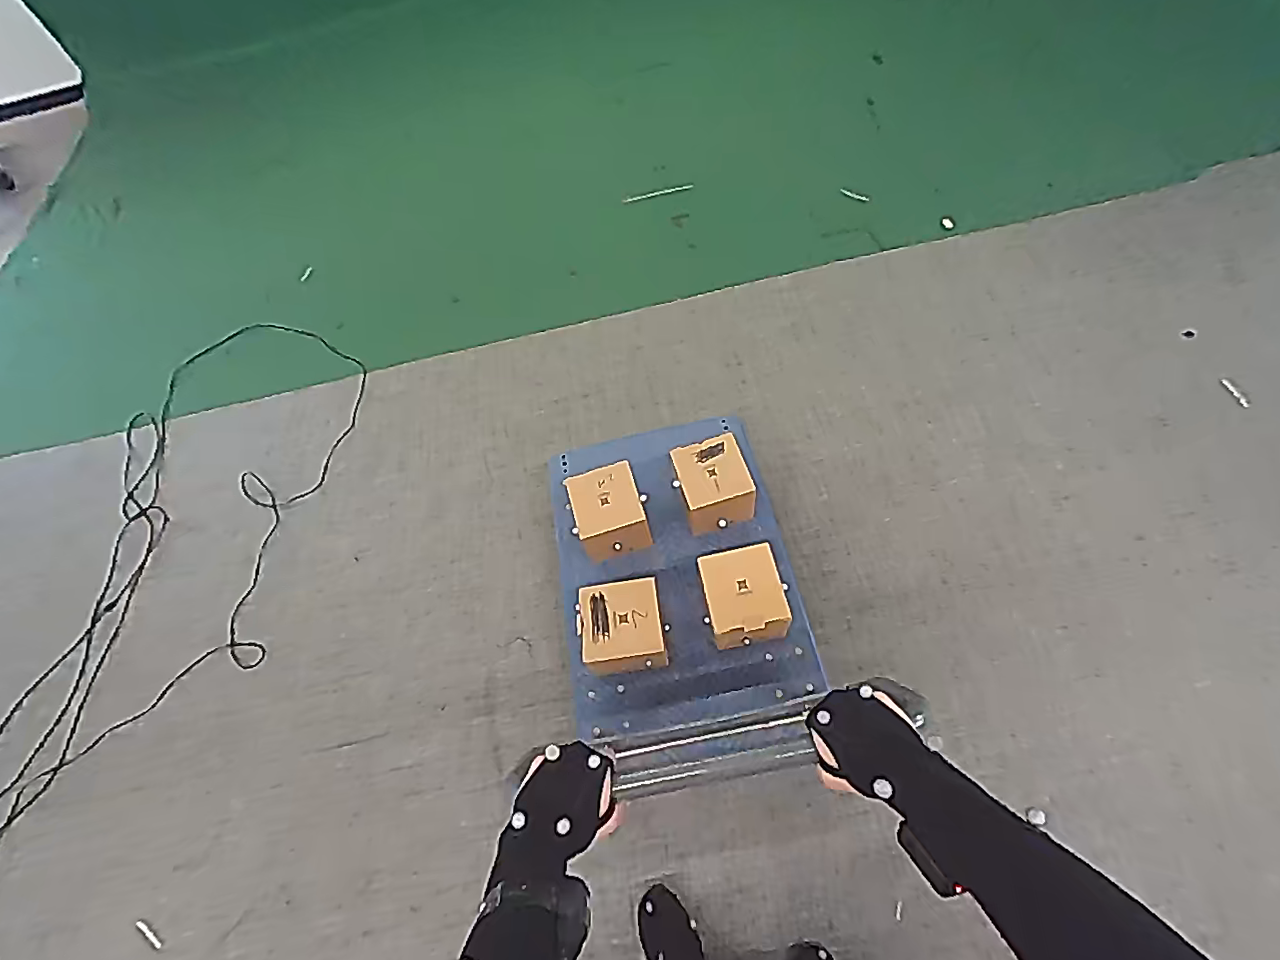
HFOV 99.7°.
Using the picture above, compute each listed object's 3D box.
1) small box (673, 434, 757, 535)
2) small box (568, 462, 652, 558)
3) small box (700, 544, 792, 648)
[{"bbox_3d":[0.187,0.015,1.386,0.168,0.176,0.179,-17,62,-1],"label":"small box"},{"bbox_3d":[-0.073,0.085,1.385,0.168,0.176,0.179,-16,61,-2],"label":"small box"},{"bbox_3d":[0.234,0.270,1.243,0.168,0.176,0.179,-12,61,1],"label":"small box"}]
